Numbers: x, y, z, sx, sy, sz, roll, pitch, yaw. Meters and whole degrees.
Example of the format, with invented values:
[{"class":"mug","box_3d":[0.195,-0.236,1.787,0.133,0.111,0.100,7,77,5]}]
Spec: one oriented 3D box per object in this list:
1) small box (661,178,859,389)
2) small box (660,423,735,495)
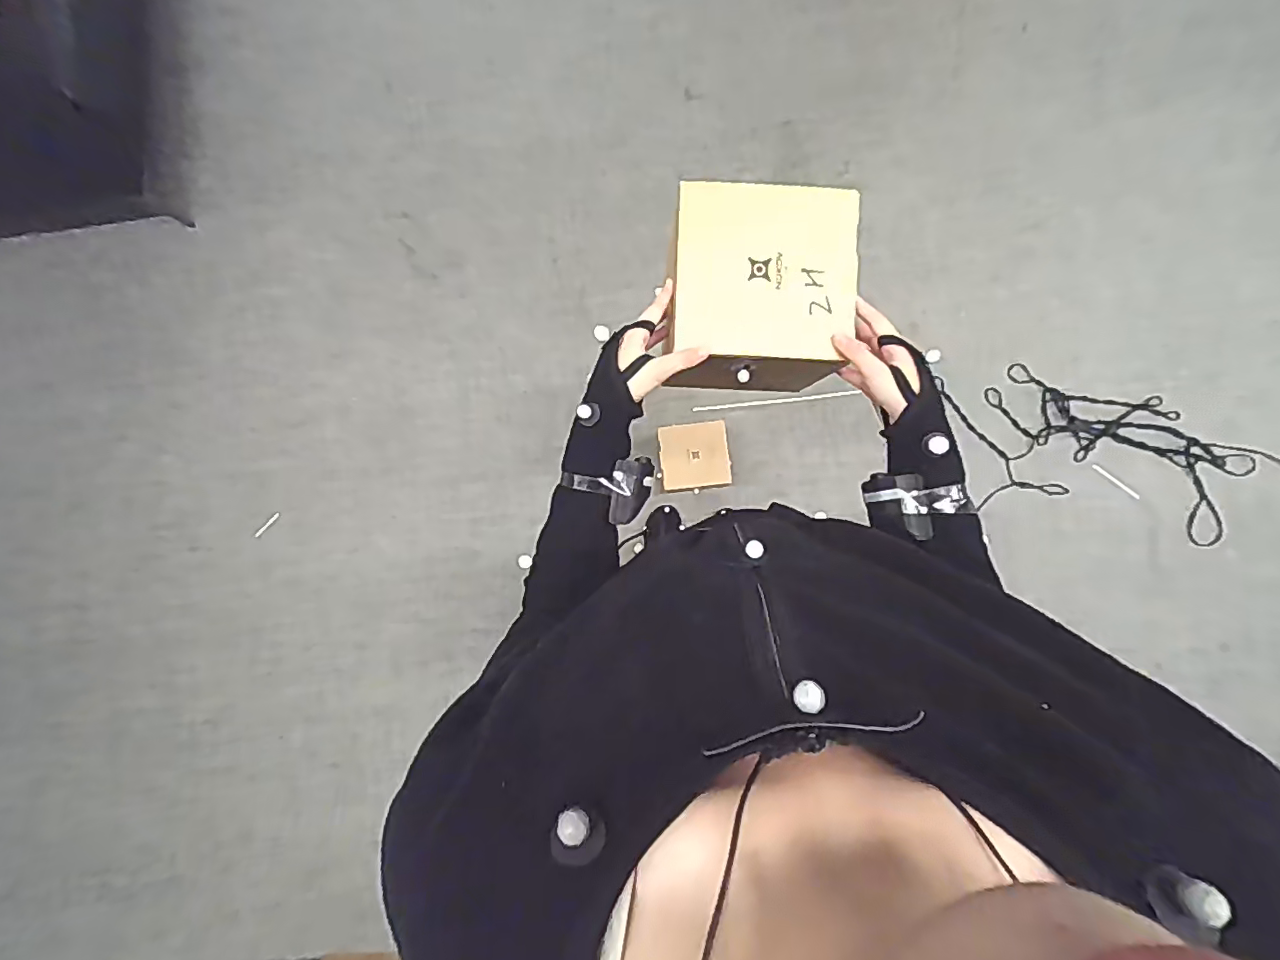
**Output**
[{"class":"small box","box_3d":[0.115,-0.196,0.585,0.179,0.176,0.168,2,90,-2]},{"class":"small box","box_3d":[0.154,-0.051,1.446,0.179,0.176,0.168,-6,85,5]}]
